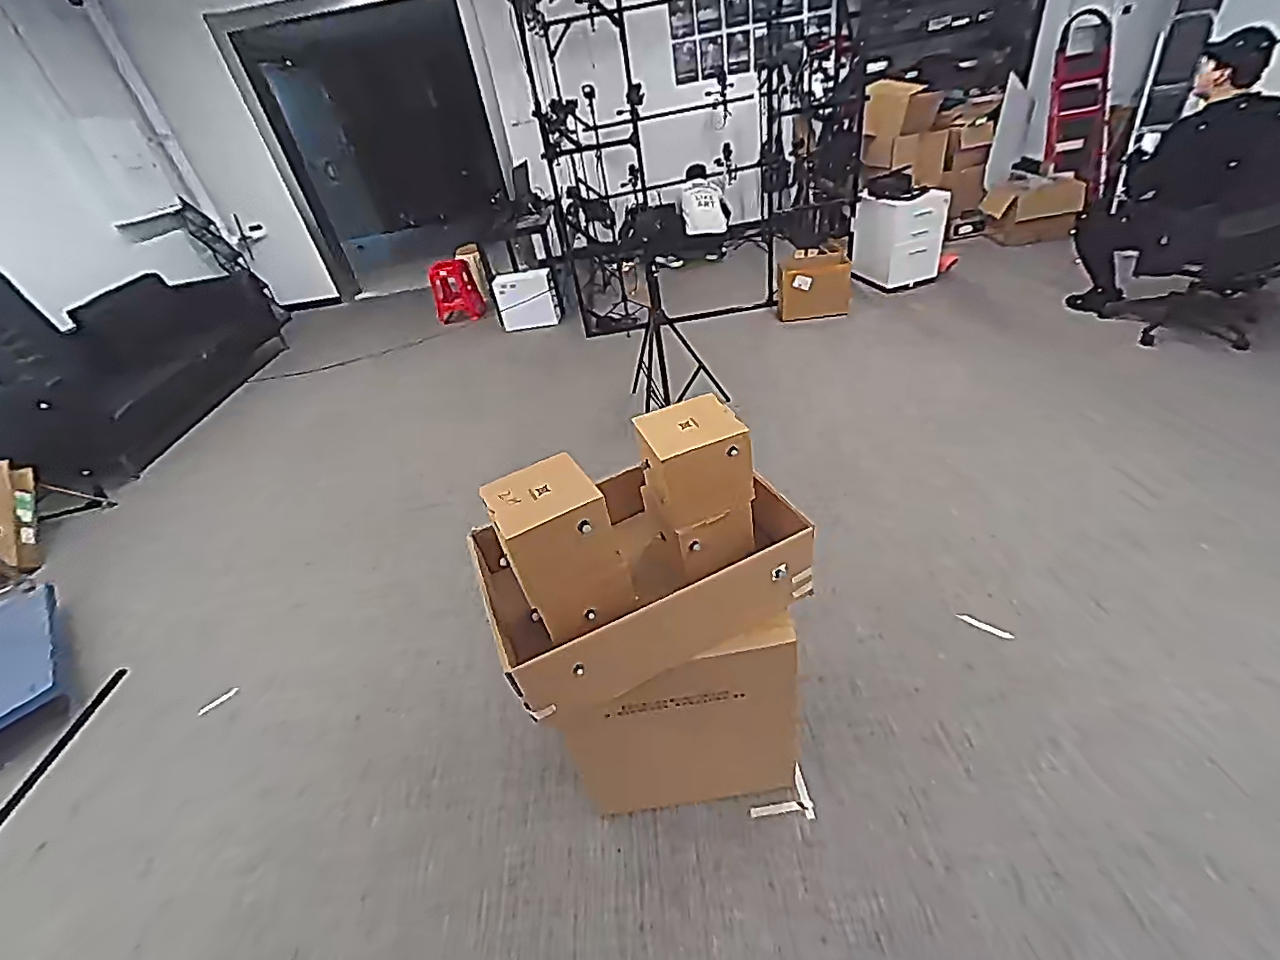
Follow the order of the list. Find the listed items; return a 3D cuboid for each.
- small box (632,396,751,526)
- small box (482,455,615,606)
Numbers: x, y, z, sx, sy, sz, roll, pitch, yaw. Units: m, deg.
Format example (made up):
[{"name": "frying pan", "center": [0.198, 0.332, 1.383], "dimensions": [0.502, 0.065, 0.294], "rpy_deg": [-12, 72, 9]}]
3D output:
[{"name": "small box", "center": [0.104, -0.036, 1.062], "dimensions": [0.179, 0.176, 0.168], "rpy_deg": [-20, 38, -10]}, {"name": "small box", "center": [-0.157, 0.089, 0.967], "dimensions": [0.179, 0.176, 0.168], "rpy_deg": [-25, 39, -17]}]
